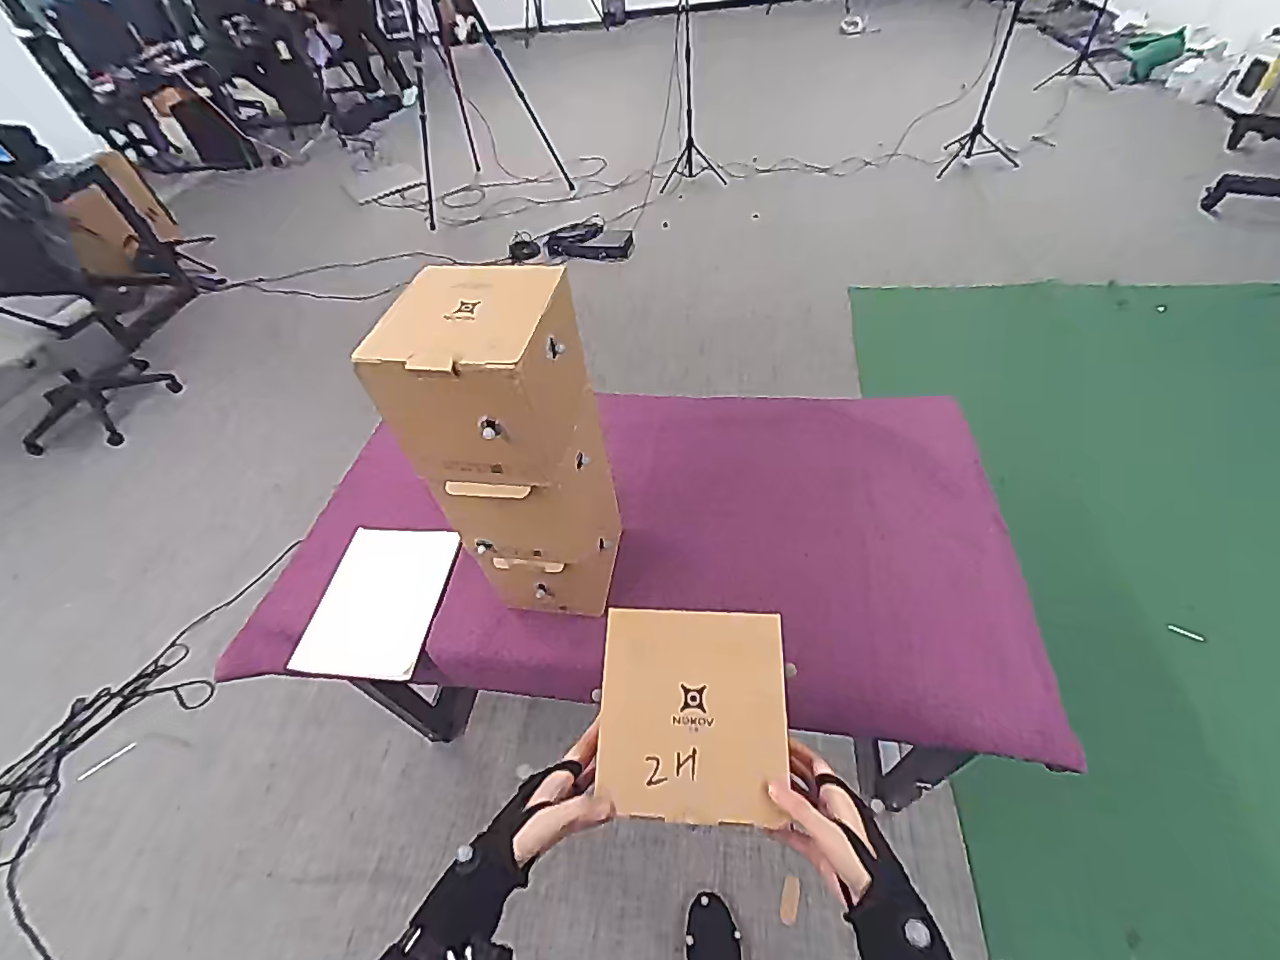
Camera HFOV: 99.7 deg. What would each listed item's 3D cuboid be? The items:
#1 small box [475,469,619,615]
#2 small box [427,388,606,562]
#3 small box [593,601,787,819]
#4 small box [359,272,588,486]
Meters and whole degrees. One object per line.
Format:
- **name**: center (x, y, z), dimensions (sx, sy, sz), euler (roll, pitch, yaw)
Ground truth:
- **small box**: center (-0.133, 0.096, 0.856), dimensions (0.168, 0.176, 0.179), euler (4, 50, 9)
- **small box**: center (-0.149, -0.008, 0.729), dimensions (0.168, 0.176, 0.179), euler (4, 48, 10)
- **small box**: center (0.053, 0.237, 0.561), dimensions (0.168, 0.176, 0.179), euler (1, 63, 7)
- **small box**: center (-0.164, -0.111, 0.604), dimensions (0.168, 0.176, 0.179), euler (5, 49, 10)
